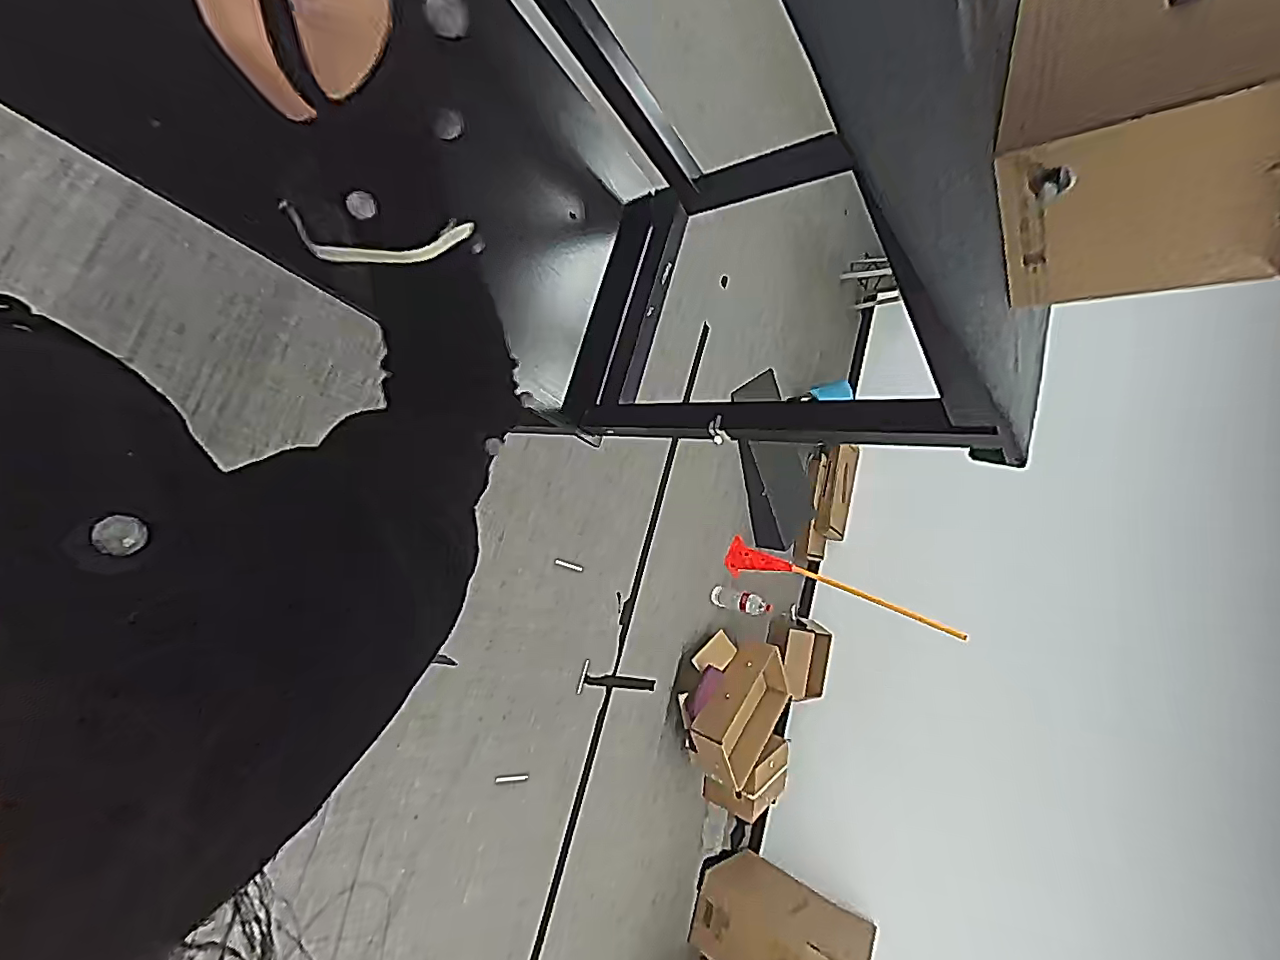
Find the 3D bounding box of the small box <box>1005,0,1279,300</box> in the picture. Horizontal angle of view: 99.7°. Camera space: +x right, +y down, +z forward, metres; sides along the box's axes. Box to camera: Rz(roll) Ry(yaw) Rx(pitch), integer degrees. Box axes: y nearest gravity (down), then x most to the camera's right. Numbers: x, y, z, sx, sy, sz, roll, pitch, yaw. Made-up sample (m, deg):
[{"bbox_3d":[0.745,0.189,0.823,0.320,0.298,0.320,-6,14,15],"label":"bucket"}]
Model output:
[{"bbox_3d":[0.374,-0.257,0.393,0.168,0.176,0.179,35,66,-46],"label":"small box"}]
